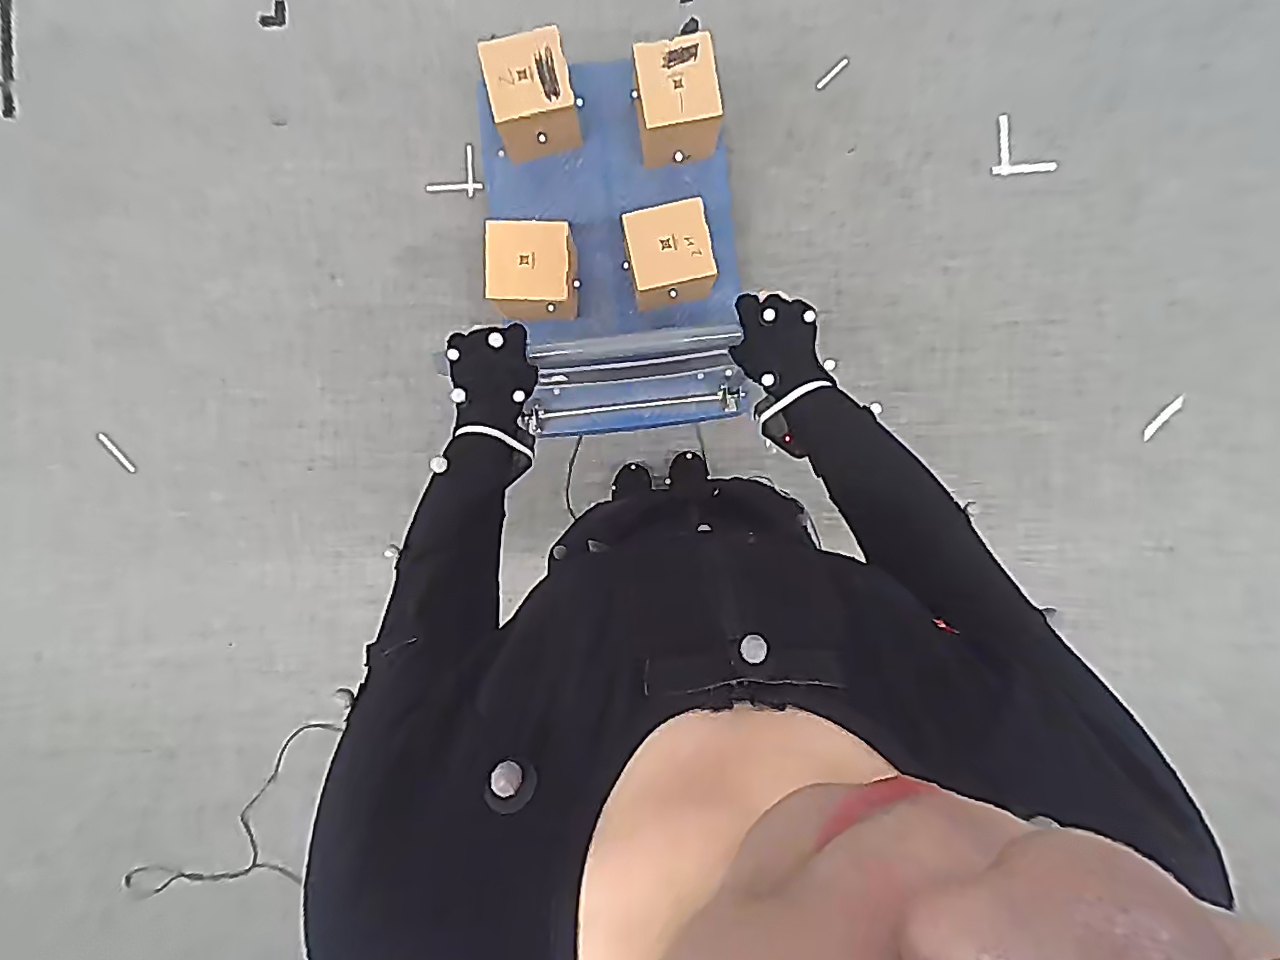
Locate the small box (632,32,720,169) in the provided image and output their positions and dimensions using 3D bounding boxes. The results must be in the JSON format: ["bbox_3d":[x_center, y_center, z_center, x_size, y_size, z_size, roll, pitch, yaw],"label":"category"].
[{"bbox_3d":[0.073,-0.834,1.204,0.168,0.176,0.179,-10,93,1],"label":"small box"}]

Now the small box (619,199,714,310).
[{"bbox_3d":[0.059,-0.497,1.218,0.179,0.176,0.168,-12,93,1],"label":"small box"}]

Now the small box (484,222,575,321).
[{"bbox_3d":[-0.243,-0.463,1.221,0.179,0.176,0.168,0,92,-1],"label":"small box"}]
